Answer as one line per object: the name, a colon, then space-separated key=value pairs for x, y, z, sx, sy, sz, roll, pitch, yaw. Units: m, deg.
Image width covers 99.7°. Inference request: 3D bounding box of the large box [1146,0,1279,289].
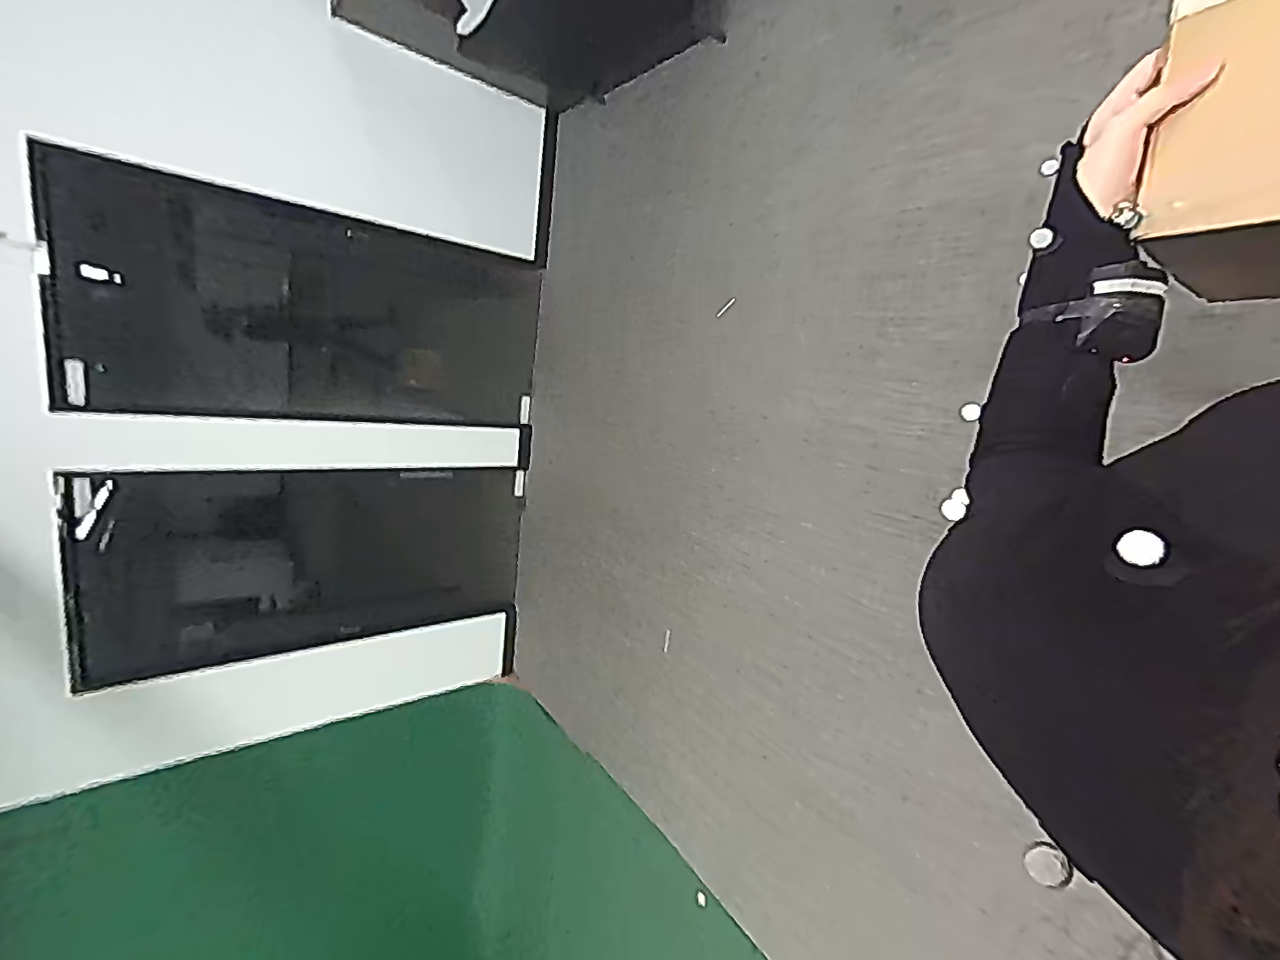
large box: x=0.634 y=-0.318 z=0.323 sx=0.408 sy=0.320 sz=0.320 roll=15 pitch=103 yaw=54
